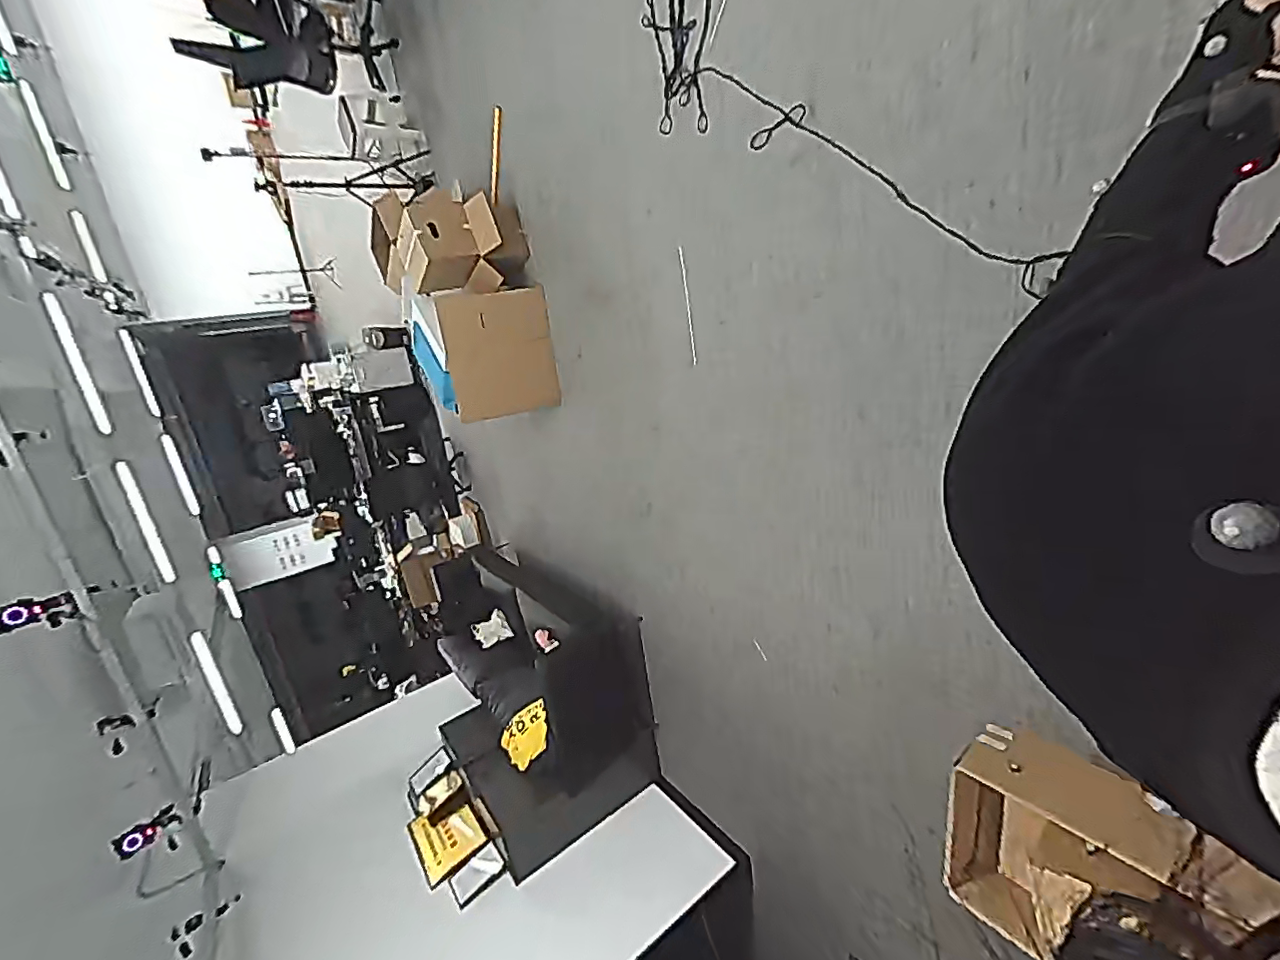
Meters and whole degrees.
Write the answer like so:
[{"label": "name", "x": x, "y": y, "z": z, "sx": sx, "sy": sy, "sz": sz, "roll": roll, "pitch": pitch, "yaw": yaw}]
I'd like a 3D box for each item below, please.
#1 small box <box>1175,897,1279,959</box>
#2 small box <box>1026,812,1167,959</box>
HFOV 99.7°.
[{"label": "small box", "x": 1.010, "y": 0.862, "z": 0.894, "sx": 0.168, "sy": 0.176, "sz": 0.179, "roll": 8, "pitch": 113, "yaw": 53}, {"label": "small box", "x": 0.881, "y": 0.793, "z": 1.045, "sx": 0.168, "sy": 0.176, "sz": 0.179, "roll": -4, "pitch": 103, "yaw": 56}]
